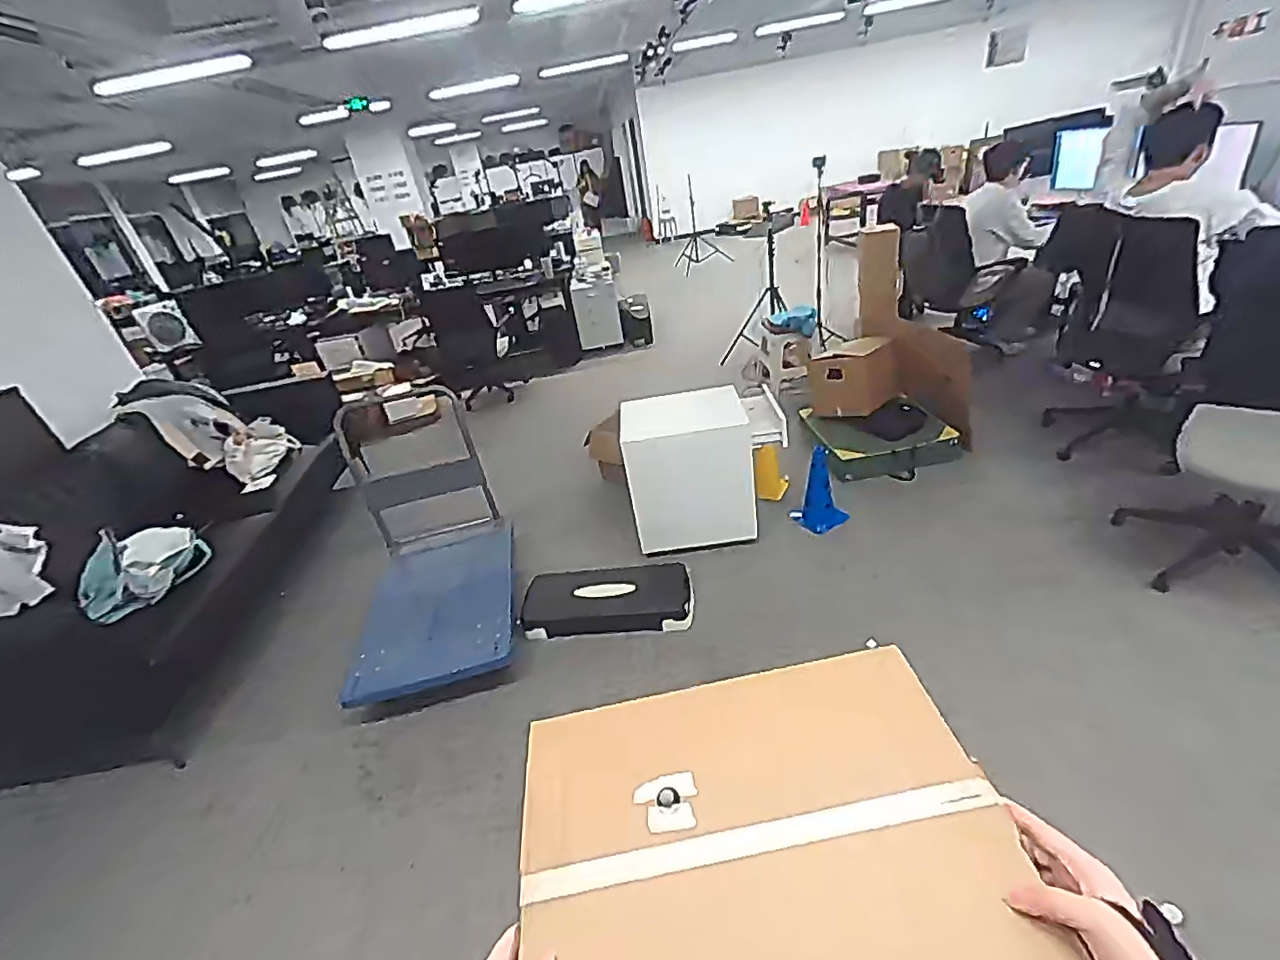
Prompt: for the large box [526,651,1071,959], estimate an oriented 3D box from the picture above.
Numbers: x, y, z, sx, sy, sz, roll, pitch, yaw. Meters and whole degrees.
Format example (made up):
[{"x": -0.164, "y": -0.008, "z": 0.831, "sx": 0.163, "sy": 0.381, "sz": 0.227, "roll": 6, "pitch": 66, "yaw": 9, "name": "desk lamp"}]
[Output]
[{"x": 0.128, "y": 0.436, "z": 0.557, "sx": 0.408, "sy": 0.320, "sz": 0.320, "roll": -14, "pitch": 34, "yaw": 2, "name": "large box"}]
